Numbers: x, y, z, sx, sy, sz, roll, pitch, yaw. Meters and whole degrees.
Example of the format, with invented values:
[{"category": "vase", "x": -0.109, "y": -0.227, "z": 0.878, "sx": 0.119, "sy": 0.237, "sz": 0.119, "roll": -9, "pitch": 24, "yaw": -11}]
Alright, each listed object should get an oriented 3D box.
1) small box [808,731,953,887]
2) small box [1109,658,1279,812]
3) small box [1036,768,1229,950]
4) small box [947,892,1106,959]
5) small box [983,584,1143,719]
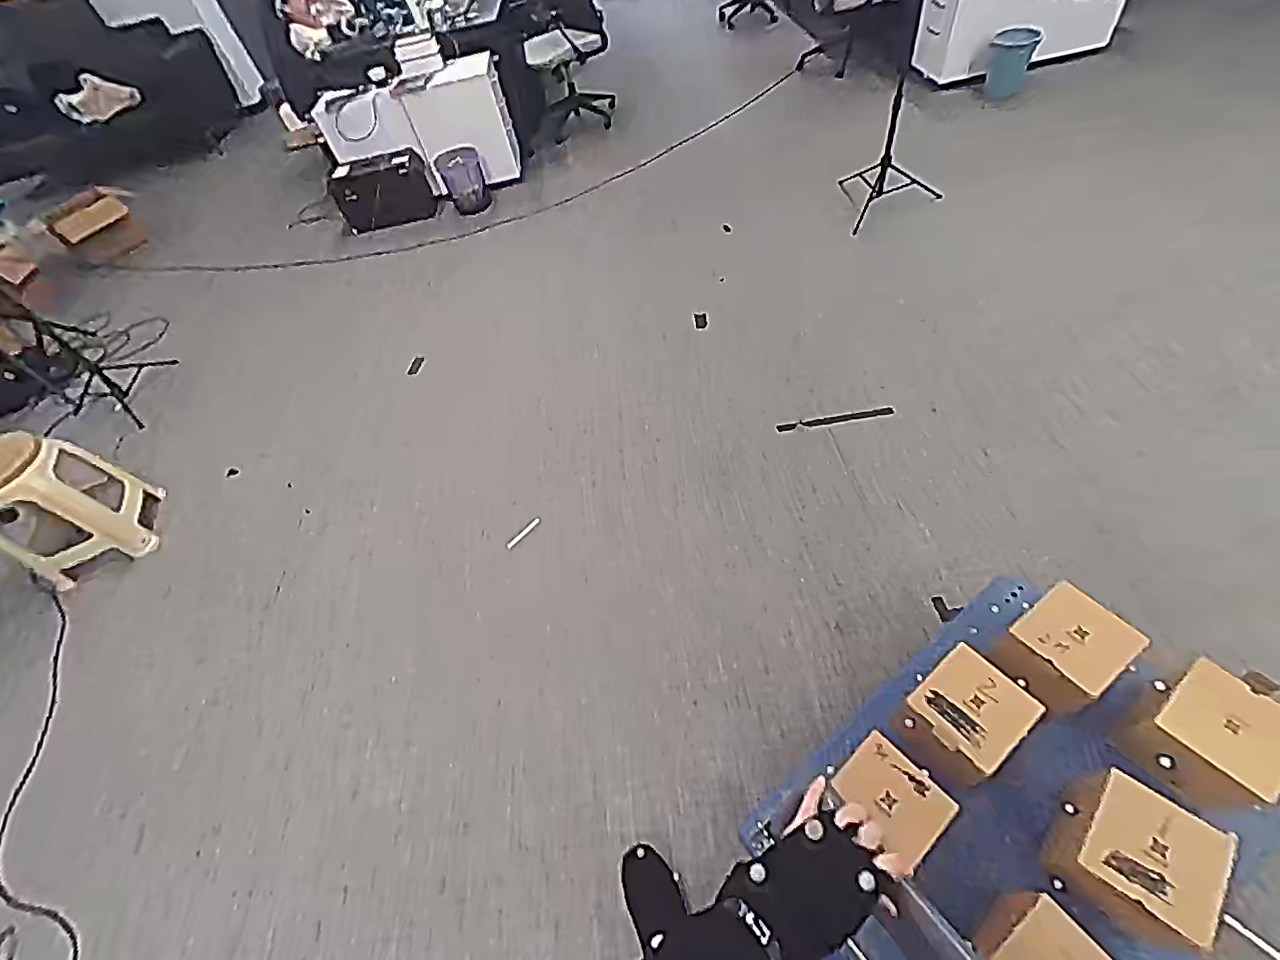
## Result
[{"category": "small box", "x": 0.426, "y": 0.602, "z": 0.990, "sx": 0.179, "sy": 0.176, "sz": 0.168, "roll": -38, "pitch": 57, "yaw": -17}, {"category": "small box", "x": 1.008, "y": 0.466, "z": 0.980, "sx": 0.179, "sy": 0.176, "sz": 0.168, "roll": -37, "pitch": 55, "yaw": -17}, {"category": "small box", "x": 0.802, "y": 0.625, "z": 0.900, "sx": 0.168, "sy": 0.176, "sz": 0.179, "roll": 32, "pitch": 64, "yaw": 30}, {"category": "small box", "x": 0.605, "y": 0.776, "z": 0.826, "sx": 0.179, "sy": 0.176, "sz": 0.168, "roll": -34, "pitch": 55, "yaw": -15}, {"category": "small box", "x": 0.842, "y": 0.350, "z": 1.099, "sx": 0.179, "sy": 0.176, "sz": 0.168, "roll": -33, "pitch": 54, "yaw": -14}]
